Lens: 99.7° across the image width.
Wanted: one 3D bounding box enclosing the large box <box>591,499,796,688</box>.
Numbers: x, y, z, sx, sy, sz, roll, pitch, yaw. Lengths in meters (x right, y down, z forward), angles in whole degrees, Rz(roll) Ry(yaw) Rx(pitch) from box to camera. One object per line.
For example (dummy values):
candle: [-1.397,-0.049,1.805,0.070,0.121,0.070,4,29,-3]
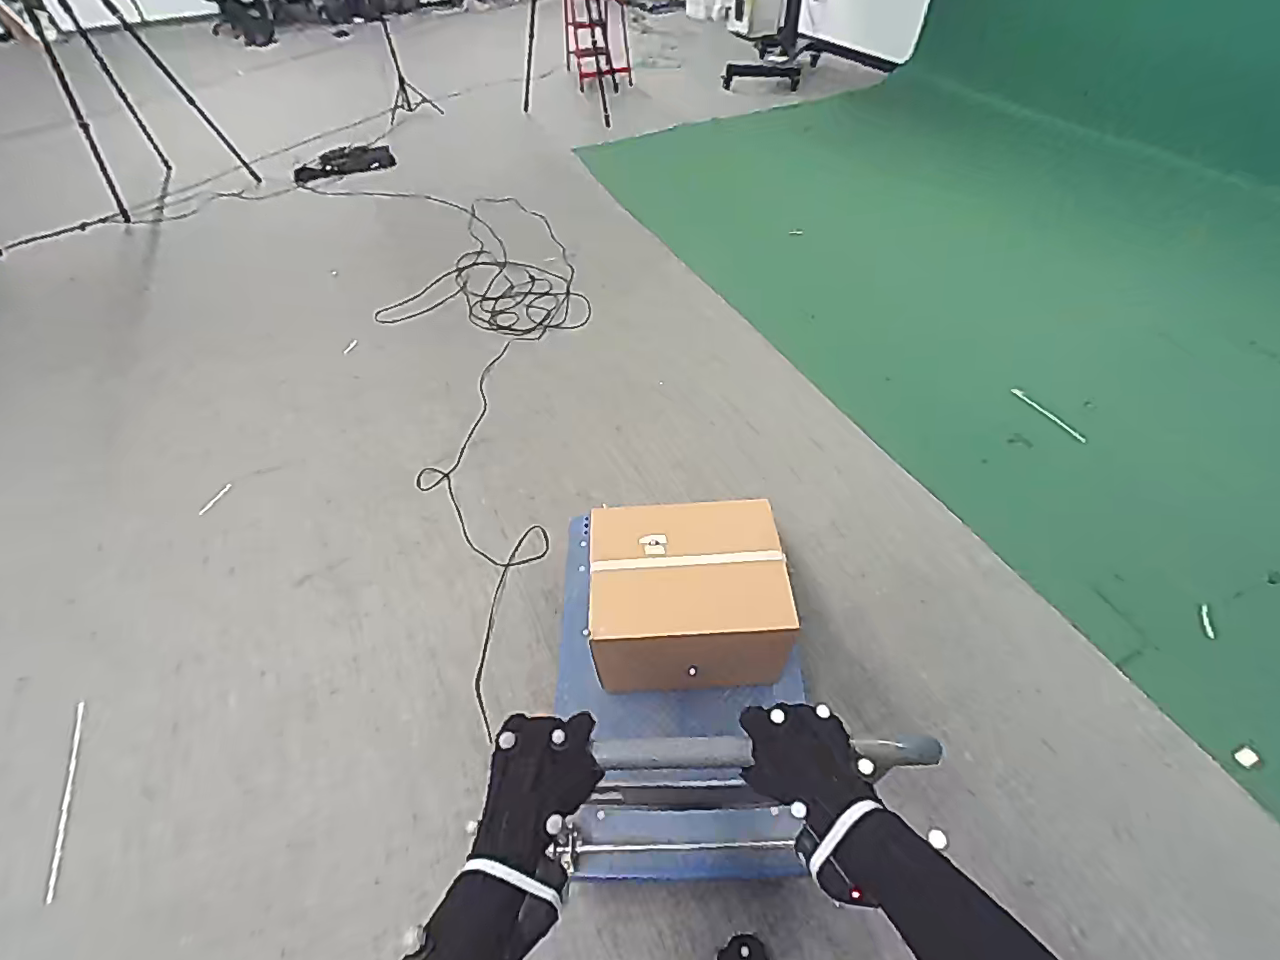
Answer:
large box: [0.106,0.269,1.250,0.408,0.320,0.320,-4,50,1]
